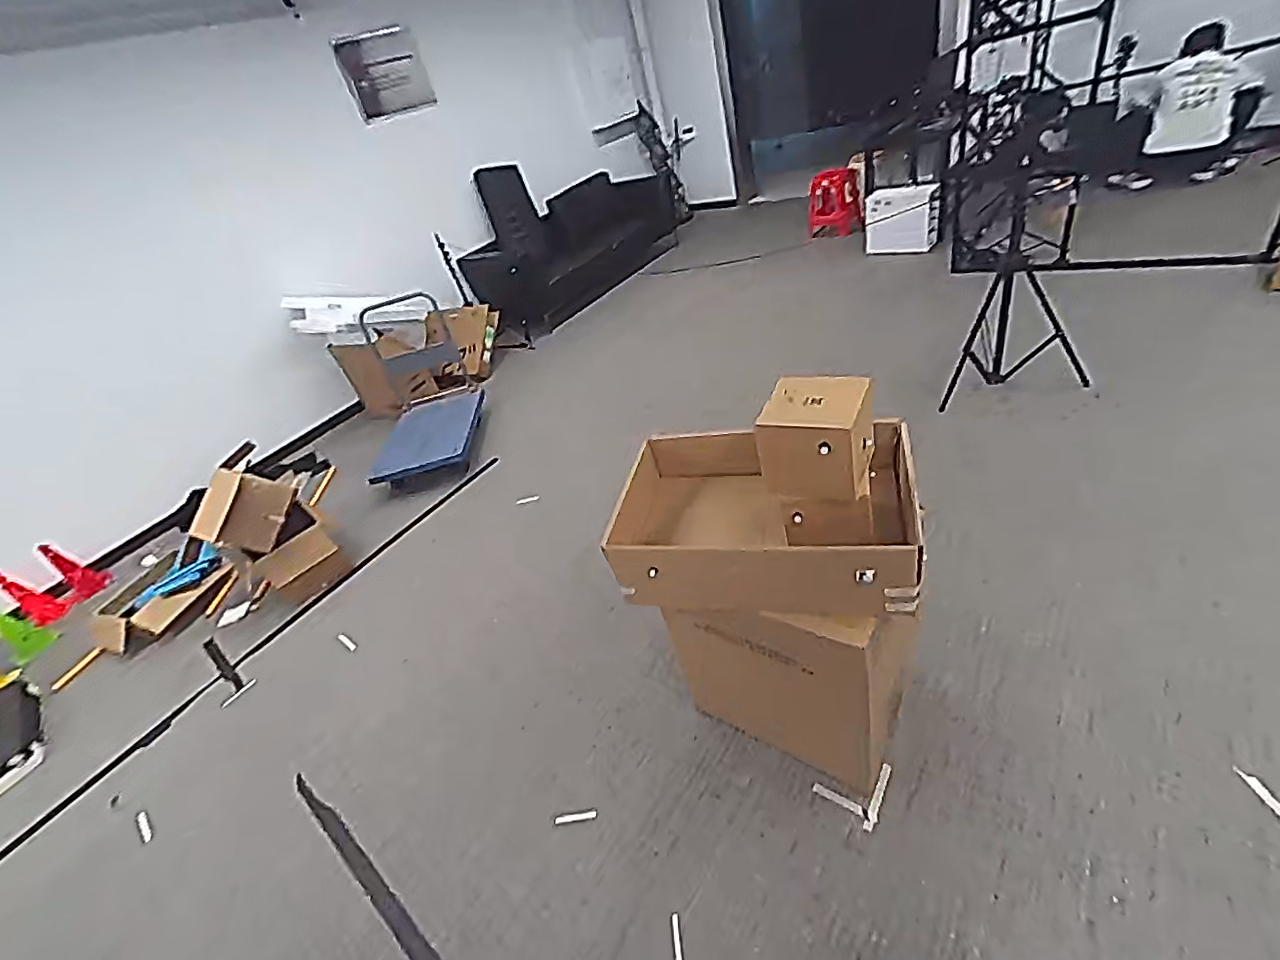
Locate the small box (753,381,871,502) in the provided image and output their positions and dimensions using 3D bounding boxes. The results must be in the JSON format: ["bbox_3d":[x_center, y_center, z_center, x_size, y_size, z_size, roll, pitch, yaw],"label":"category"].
[{"bbox_3d":[0.339,-0.075,1.042,0.179,0.176,0.168,6,43,33],"label":"small box"}]
